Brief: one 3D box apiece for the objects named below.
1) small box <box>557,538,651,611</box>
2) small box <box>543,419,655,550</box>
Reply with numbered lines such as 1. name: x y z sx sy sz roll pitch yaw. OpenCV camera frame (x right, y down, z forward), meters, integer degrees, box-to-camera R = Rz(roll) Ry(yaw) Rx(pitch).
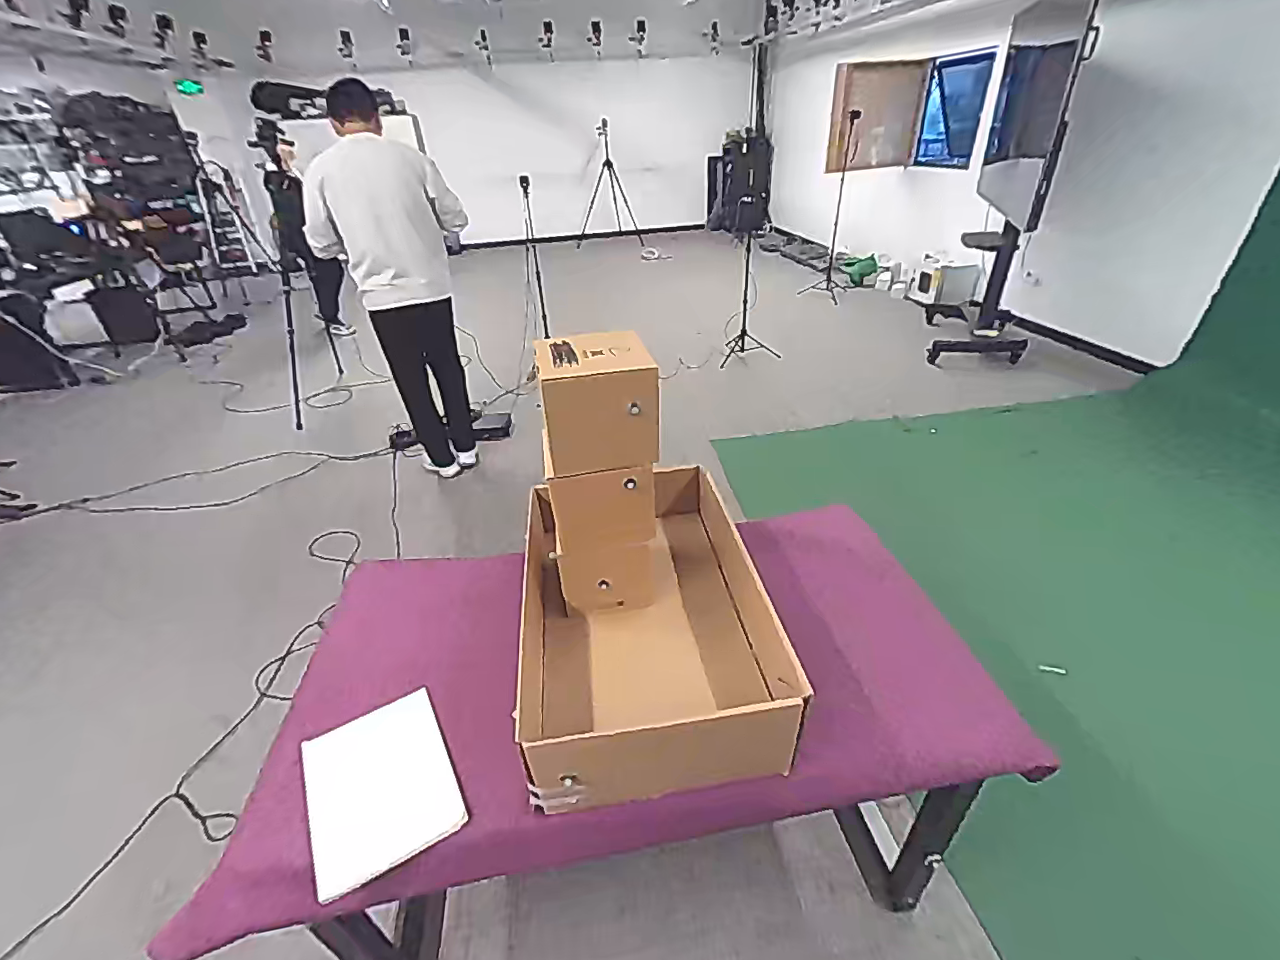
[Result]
1. small box: -0.072 0.141 1.068 0.168 0.176 0.179 -6 35 -5
2. small box: -0.073 0.009 0.975 0.179 0.176 0.168 -8 35 -7
